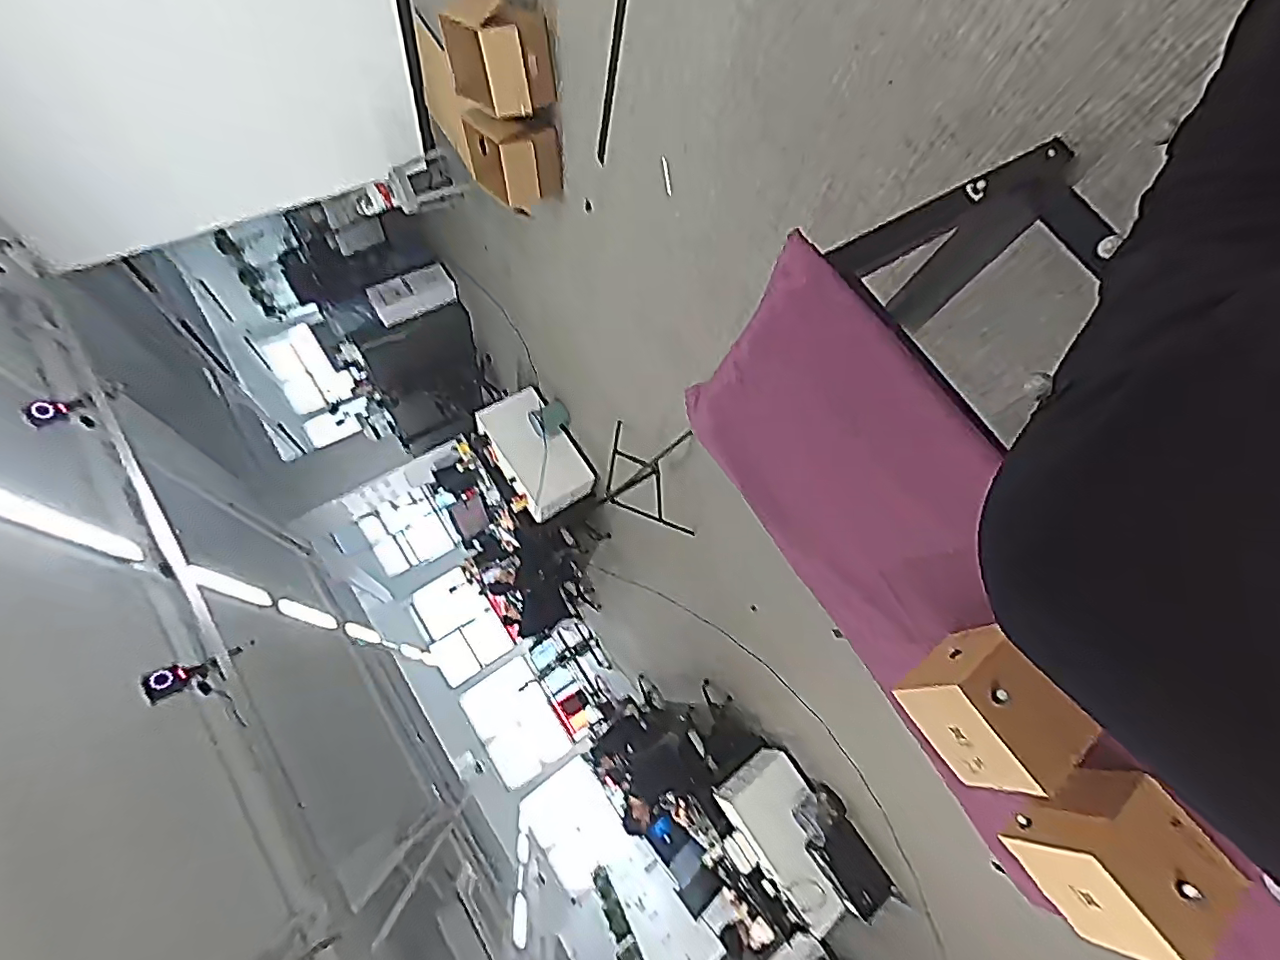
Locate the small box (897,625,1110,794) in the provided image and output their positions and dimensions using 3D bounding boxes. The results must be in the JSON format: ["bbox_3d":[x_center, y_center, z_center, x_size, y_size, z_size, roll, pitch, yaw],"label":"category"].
[{"bbox_3d":[0.553,0.343,0.836,0.179,0.176,0.168,54,160,15],"label":"small box"}]

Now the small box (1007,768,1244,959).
[{"bbox_3d":[0.700,0.546,0.784,0.168,0.176,0.179,53,159,18],"label":"small box"}]
